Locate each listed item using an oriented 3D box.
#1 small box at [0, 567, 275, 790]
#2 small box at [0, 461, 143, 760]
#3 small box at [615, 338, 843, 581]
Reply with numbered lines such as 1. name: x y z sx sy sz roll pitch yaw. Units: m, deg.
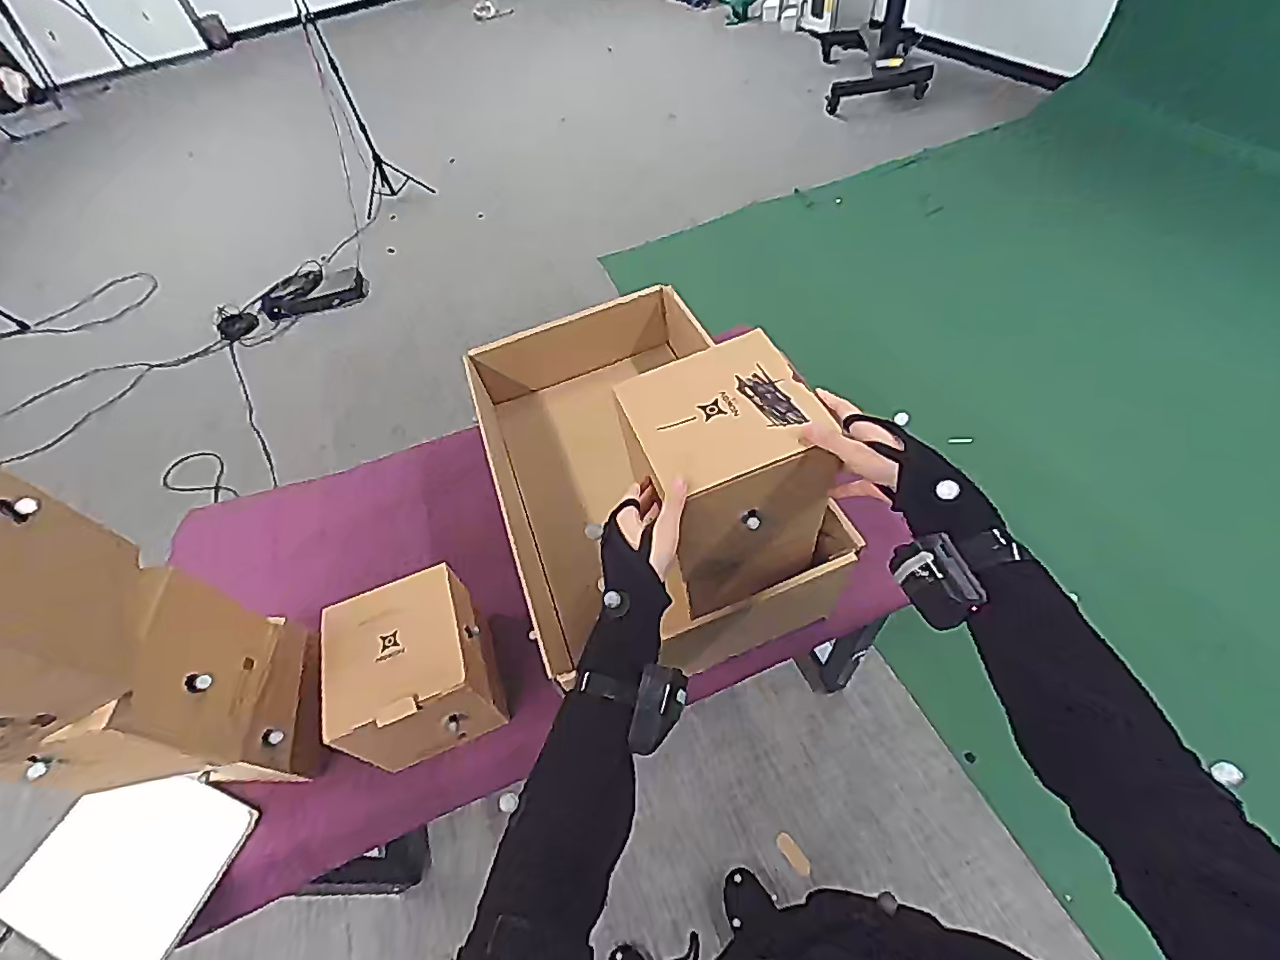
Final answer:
1. small box: -0.538 0.216 0.576 0.179 0.176 0.168 -11 52 1
2. small box: -0.564 0.117 0.446 0.168 0.176 0.179 -29 54 -13
3. small box: 0.089 -0.017 0.591 0.179 0.176 0.168 -21 53 -5
